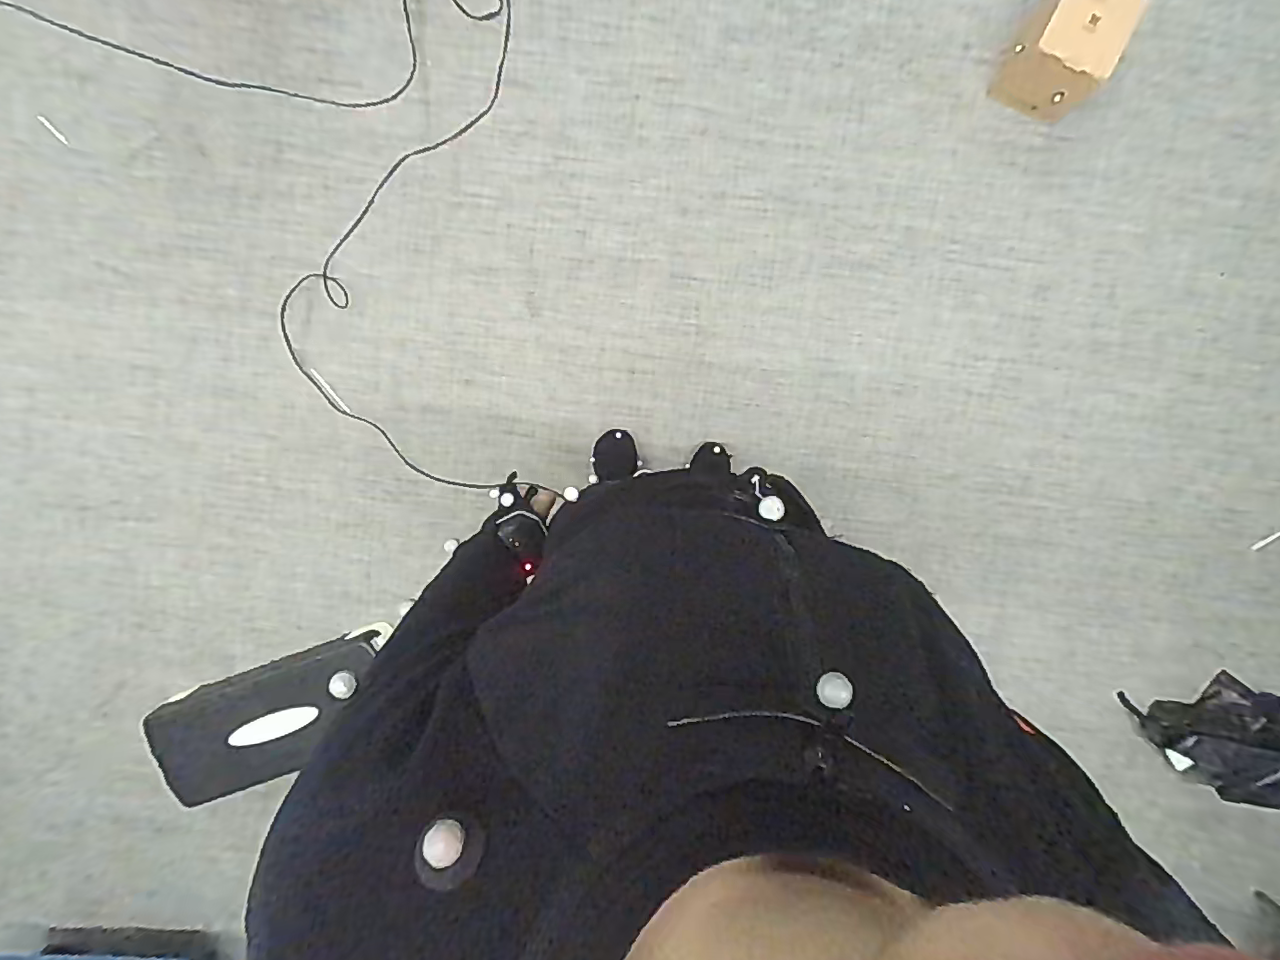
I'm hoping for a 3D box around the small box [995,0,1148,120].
[{"bbox_3d":[0.919,-0.935,1.175,0.168,0.176,0.179,24,95,-2],"label":"small box"}]
